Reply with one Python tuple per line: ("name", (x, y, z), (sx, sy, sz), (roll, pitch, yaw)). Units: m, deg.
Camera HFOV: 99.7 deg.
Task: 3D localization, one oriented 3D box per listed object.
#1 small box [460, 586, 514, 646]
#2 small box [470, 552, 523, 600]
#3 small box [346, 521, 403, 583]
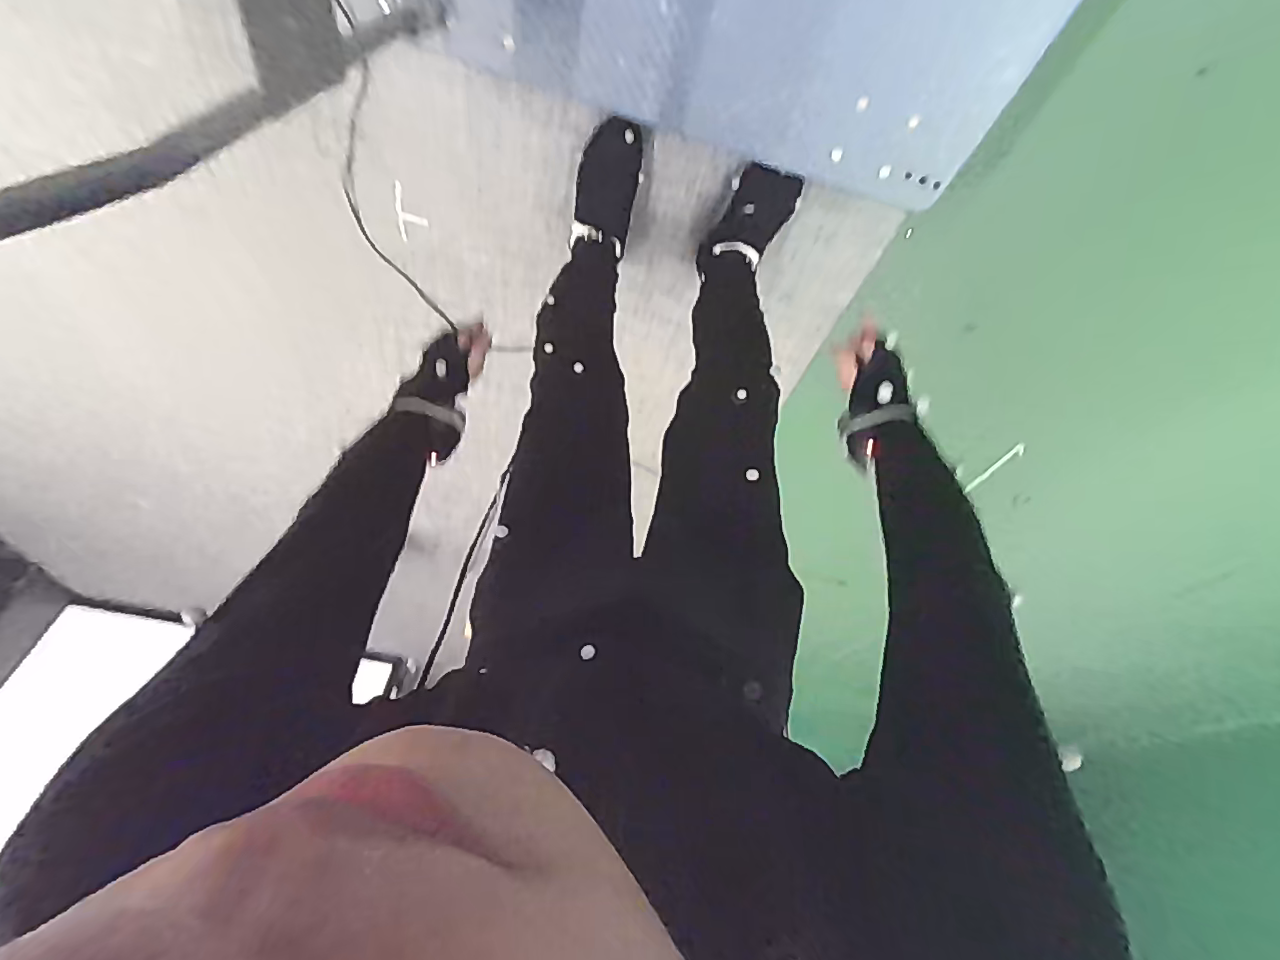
("small box", (-0.623, 0.554, 2.207), (0.168, 0.176, 0.179), (17, 140, -11))
("small box", (-0.610, 0.427, 2.310), (0.179, 0.176, 0.168), (18, 140, -11))
("small box", (-1.099, 0.298, 2.234), (0.168, 0.176, 0.179), (20, 140, -18))
